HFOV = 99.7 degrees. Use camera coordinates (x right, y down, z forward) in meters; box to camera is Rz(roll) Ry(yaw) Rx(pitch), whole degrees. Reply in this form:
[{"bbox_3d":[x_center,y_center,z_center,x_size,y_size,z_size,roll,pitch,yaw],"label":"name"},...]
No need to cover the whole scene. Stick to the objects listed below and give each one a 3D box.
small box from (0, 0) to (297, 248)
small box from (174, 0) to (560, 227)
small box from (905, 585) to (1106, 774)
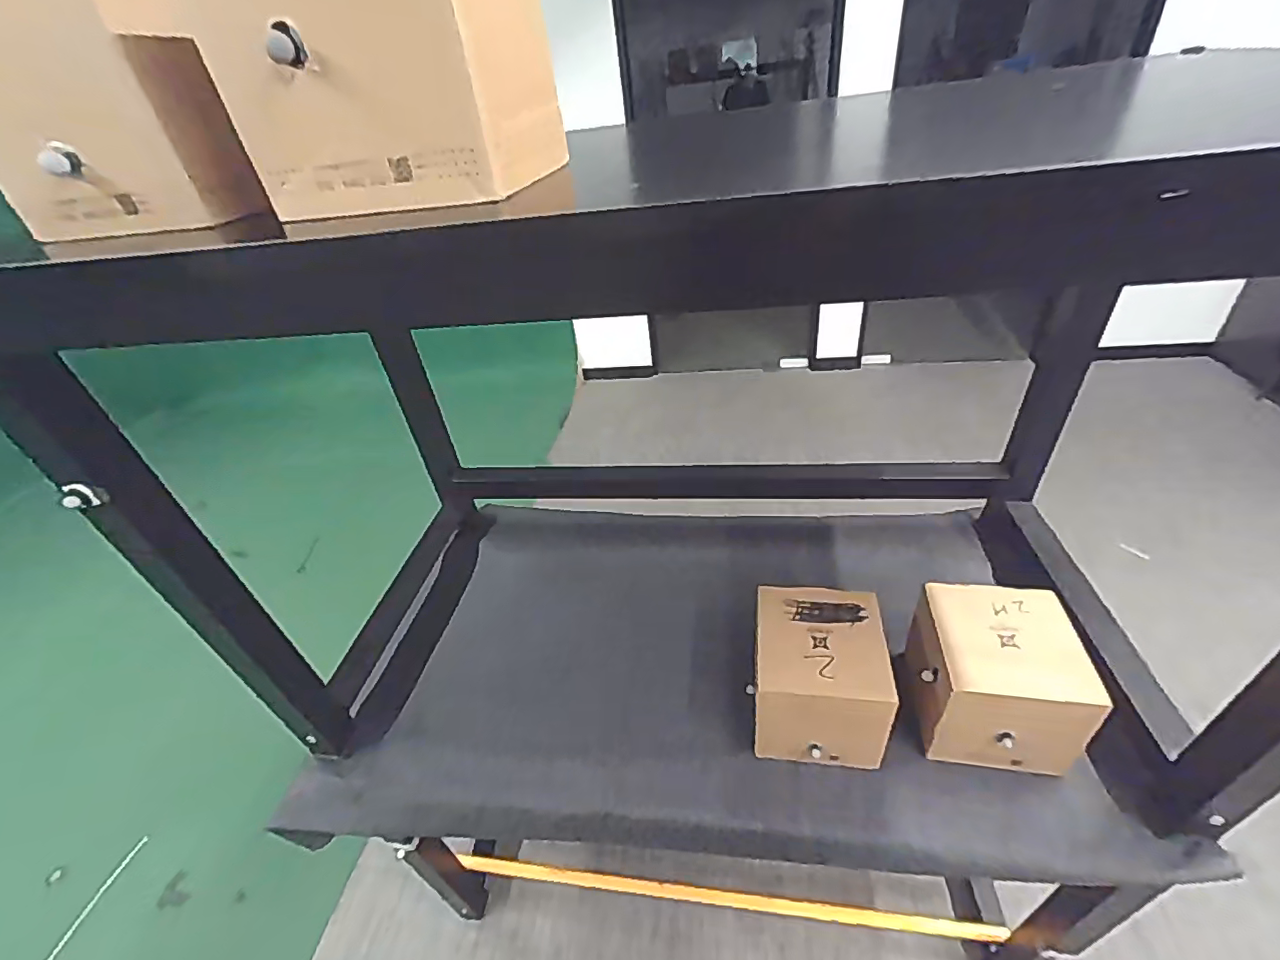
[{"bbox_3d":[-0.387,-0.297,0.437,0.168,0.176,0.179,0,38,11],"label":"small box"},{"bbox_3d":[-0.168,-0.288,0.386,0.168,0.176,0.179,0,37,12],"label":"small box"},{"bbox_3d":[0.474,0.269,0.736,0.168,0.176,0.179,2,36,13],"label":"small box"}]
